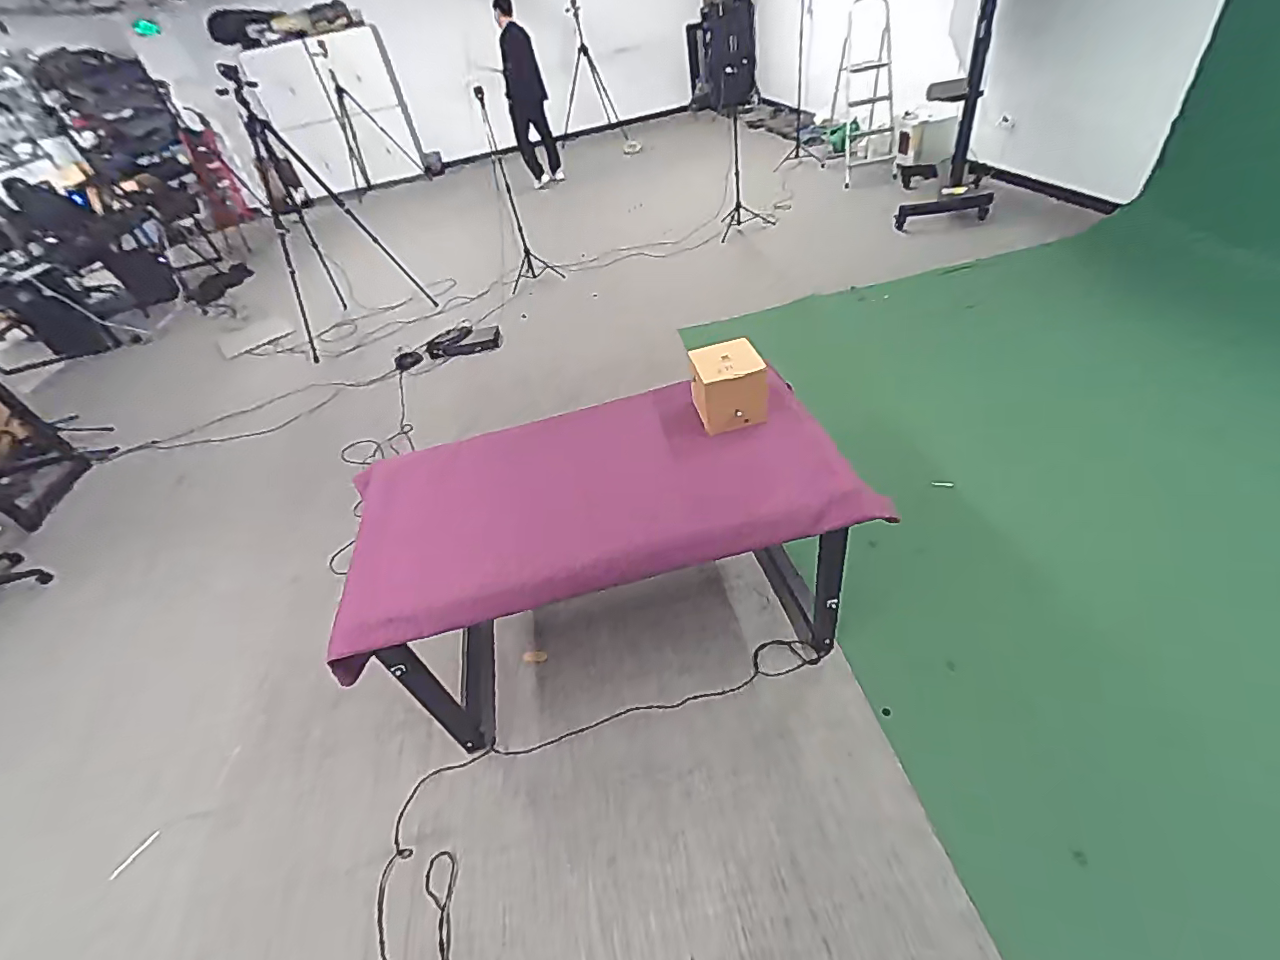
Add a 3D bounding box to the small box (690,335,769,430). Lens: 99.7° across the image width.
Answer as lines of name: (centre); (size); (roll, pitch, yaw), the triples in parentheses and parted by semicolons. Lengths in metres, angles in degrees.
small box: (0.237, -0.259, 1.445); (0.168, 0.176, 0.179); (-14, 43, -1)
